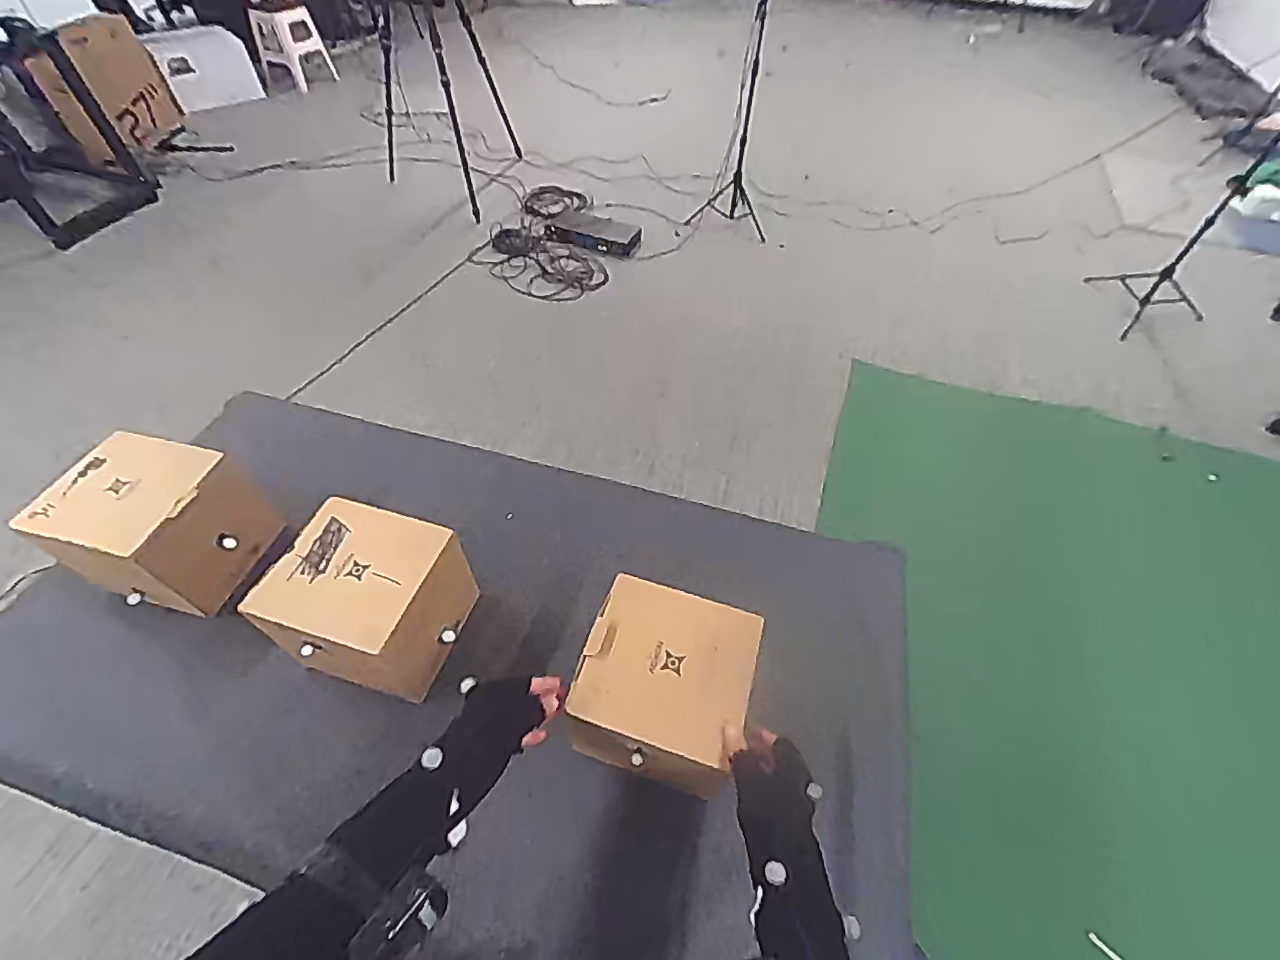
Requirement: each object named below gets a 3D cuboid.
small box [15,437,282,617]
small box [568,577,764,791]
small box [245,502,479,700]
[{"bbox_3d":[-0.649,0.070,0.746,0.179,0.176,0.168,12,51,6],"label":"small box"},{"bbox_3d":[0.030,0.243,0.635,0.179,0.176,0.168,15,54,9],"label":"small box"},{"bbox_3d":[-0.332,0.158,0.688,0.179,0.176,0.168,14,52,8],"label":"small box"}]
